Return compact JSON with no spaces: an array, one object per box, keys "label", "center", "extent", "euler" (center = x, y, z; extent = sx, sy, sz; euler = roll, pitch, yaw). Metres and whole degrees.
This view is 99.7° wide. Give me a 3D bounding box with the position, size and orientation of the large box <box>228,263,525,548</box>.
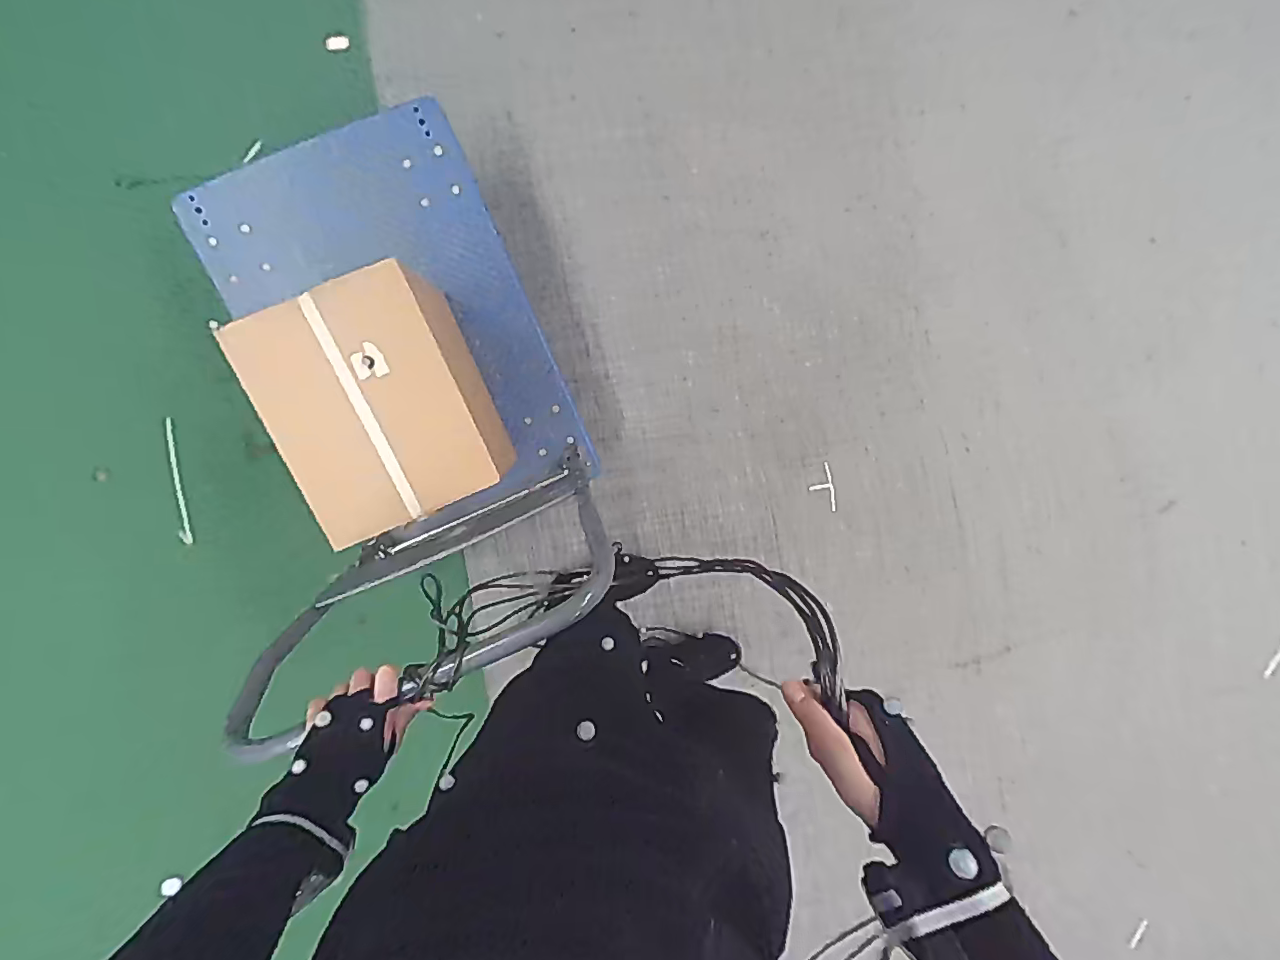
[{"label":"large box","center":[-0.463,-0.139,1.057],"extent":[0.320,0.320,0.408],"euler":[-24,100,-3]}]
